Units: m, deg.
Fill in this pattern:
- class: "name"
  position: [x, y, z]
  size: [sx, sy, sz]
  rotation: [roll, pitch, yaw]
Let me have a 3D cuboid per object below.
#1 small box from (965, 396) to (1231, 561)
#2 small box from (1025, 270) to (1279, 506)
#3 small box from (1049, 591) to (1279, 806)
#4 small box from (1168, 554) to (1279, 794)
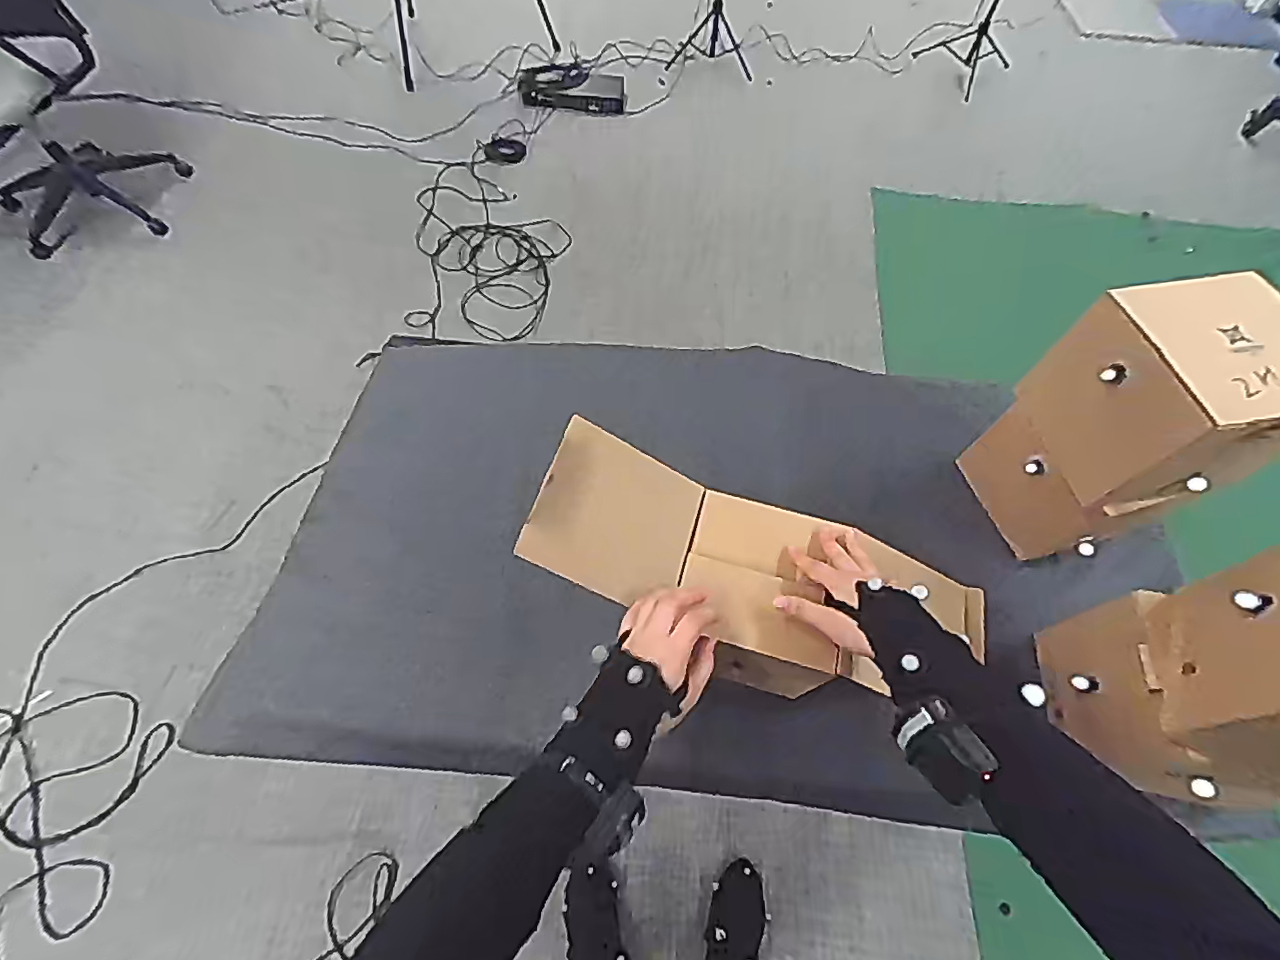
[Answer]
- class: "small box"
  position: [0.585, -0.014, 0.725]
  size: [0.168, 0.176, 0.179]
  rotation: [-15, 64, -6]
- class: "small box"
  position: [0.568, -0.092, 0.580]
  size: [0.168, 0.176, 0.179]
  rotation: [-8, 63, -2]
- class: "small box"
  position: [0.582, 0.240, 0.581]
  size: [0.179, 0.176, 0.168]
  rotation: [11, 59, 5]
- class: "small box"
  position: [0.587, 0.169, 0.433]
  size: [0.179, 0.176, 0.168]
  rotation: [30, 62, 15]
